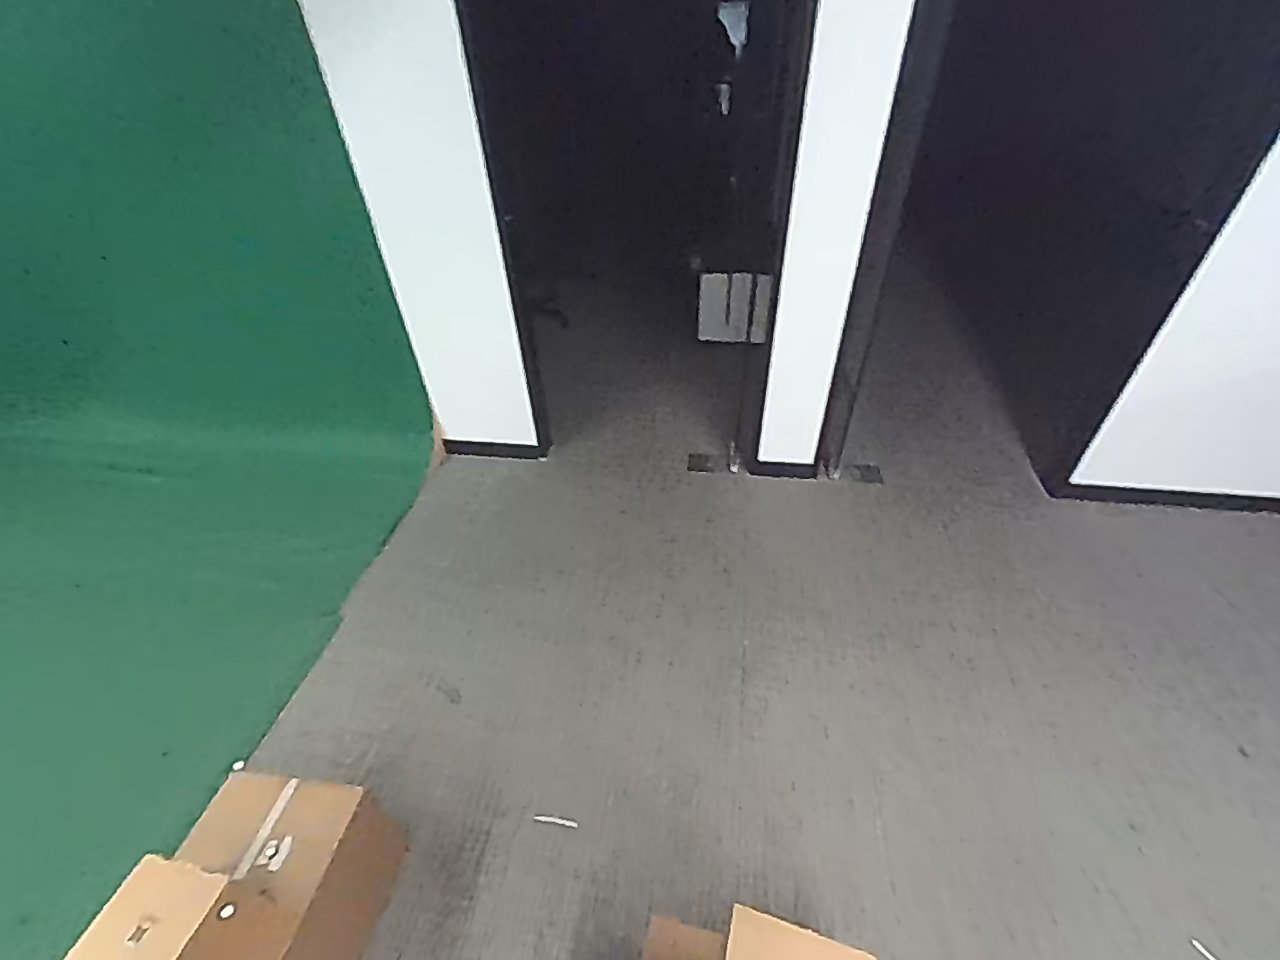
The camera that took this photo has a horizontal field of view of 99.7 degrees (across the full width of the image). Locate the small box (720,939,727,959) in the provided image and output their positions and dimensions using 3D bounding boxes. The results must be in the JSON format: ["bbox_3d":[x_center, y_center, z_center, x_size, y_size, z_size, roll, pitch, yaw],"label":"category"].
[{"bbox_3d":[0.181,0.799,0.762,0.179,0.176,0.168,10,38,15],"label":"small box"}]

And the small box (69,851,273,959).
[{"bbox_3d":[-0.746,0.743,0.872,0.168,0.176,0.179,7,39,10],"label":"small box"}]

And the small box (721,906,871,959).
[{"bbox_3d":[0.179,0.671,0.659,0.179,0.176,0.168,10,38,16],"label":"small box"}]

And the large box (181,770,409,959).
[{"bbox_3d":[-0.740,0.878,1.095,0.320,0.320,0.408,4,39,8],"label":"large box"}]
